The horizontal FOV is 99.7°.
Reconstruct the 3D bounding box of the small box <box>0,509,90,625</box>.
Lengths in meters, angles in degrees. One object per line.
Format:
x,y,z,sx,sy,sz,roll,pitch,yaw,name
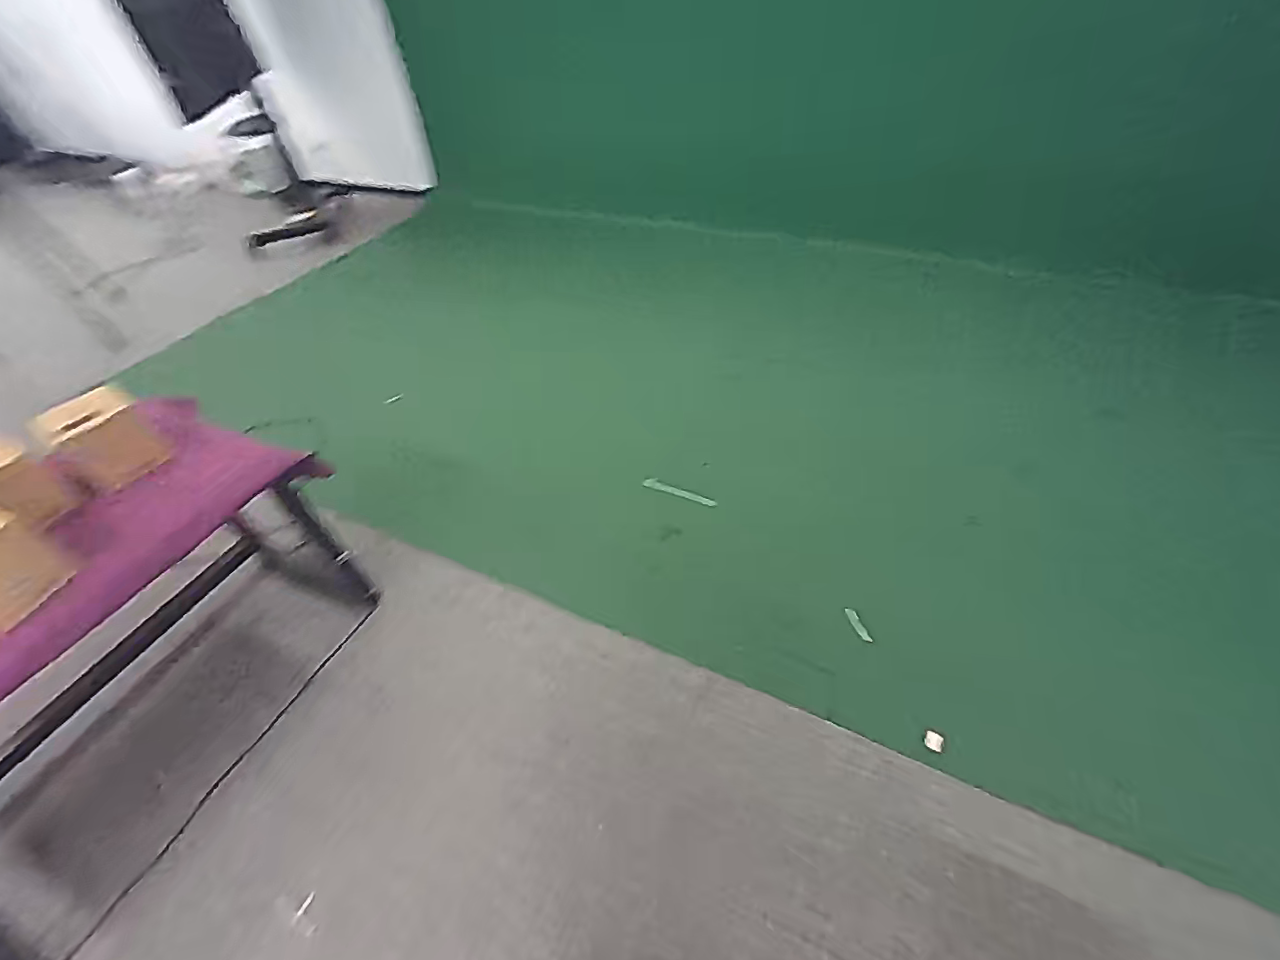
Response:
-1.310,0.172,1.098,0.179,0.176,0.168,9,49,16,small box
